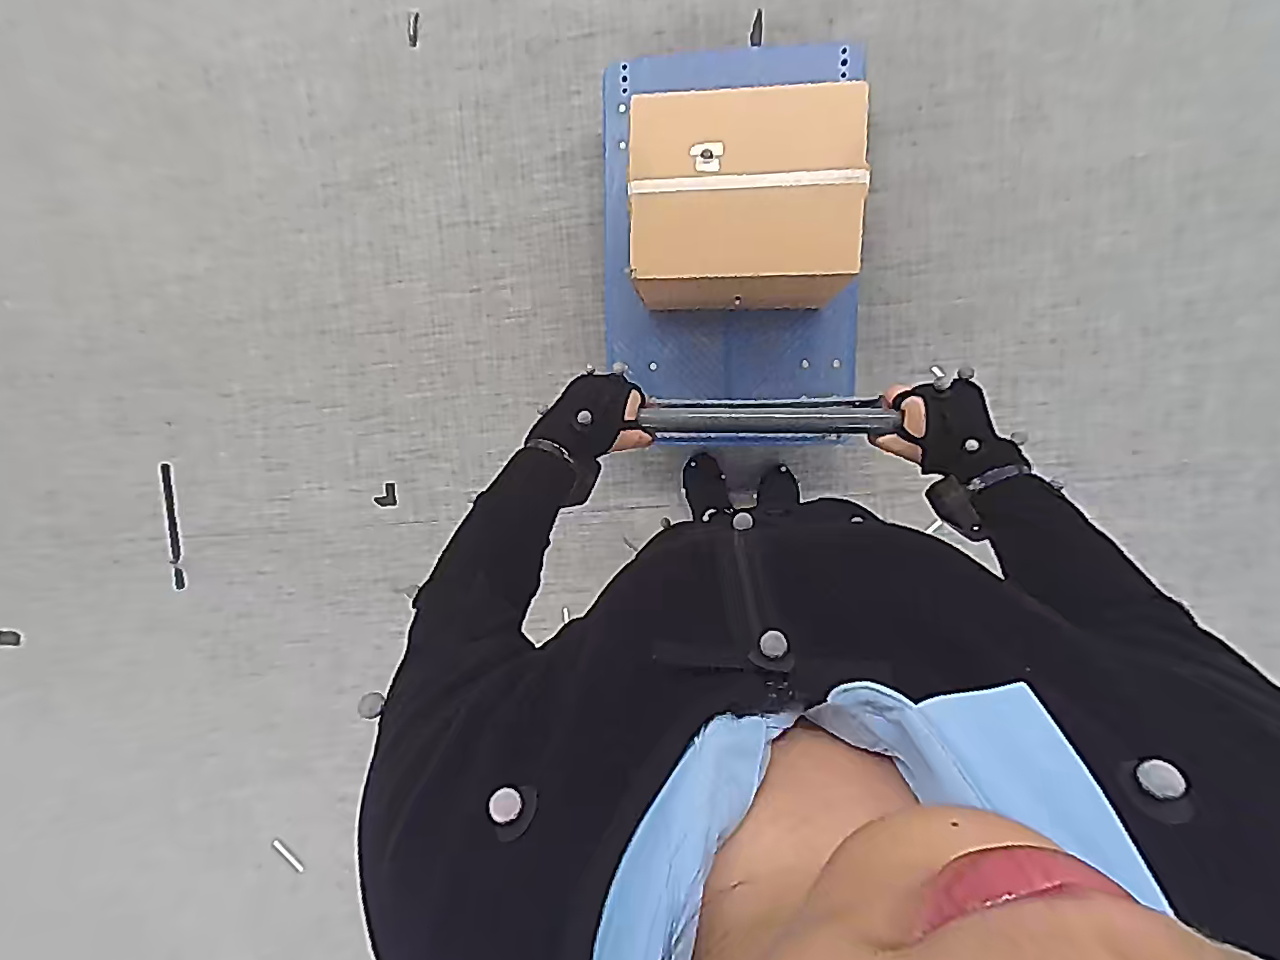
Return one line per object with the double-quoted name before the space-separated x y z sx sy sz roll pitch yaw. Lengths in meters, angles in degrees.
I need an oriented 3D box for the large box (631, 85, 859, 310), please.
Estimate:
"large box" 0.203 -0.540 1.111 0.408 0.320 0.320 1 96 8
